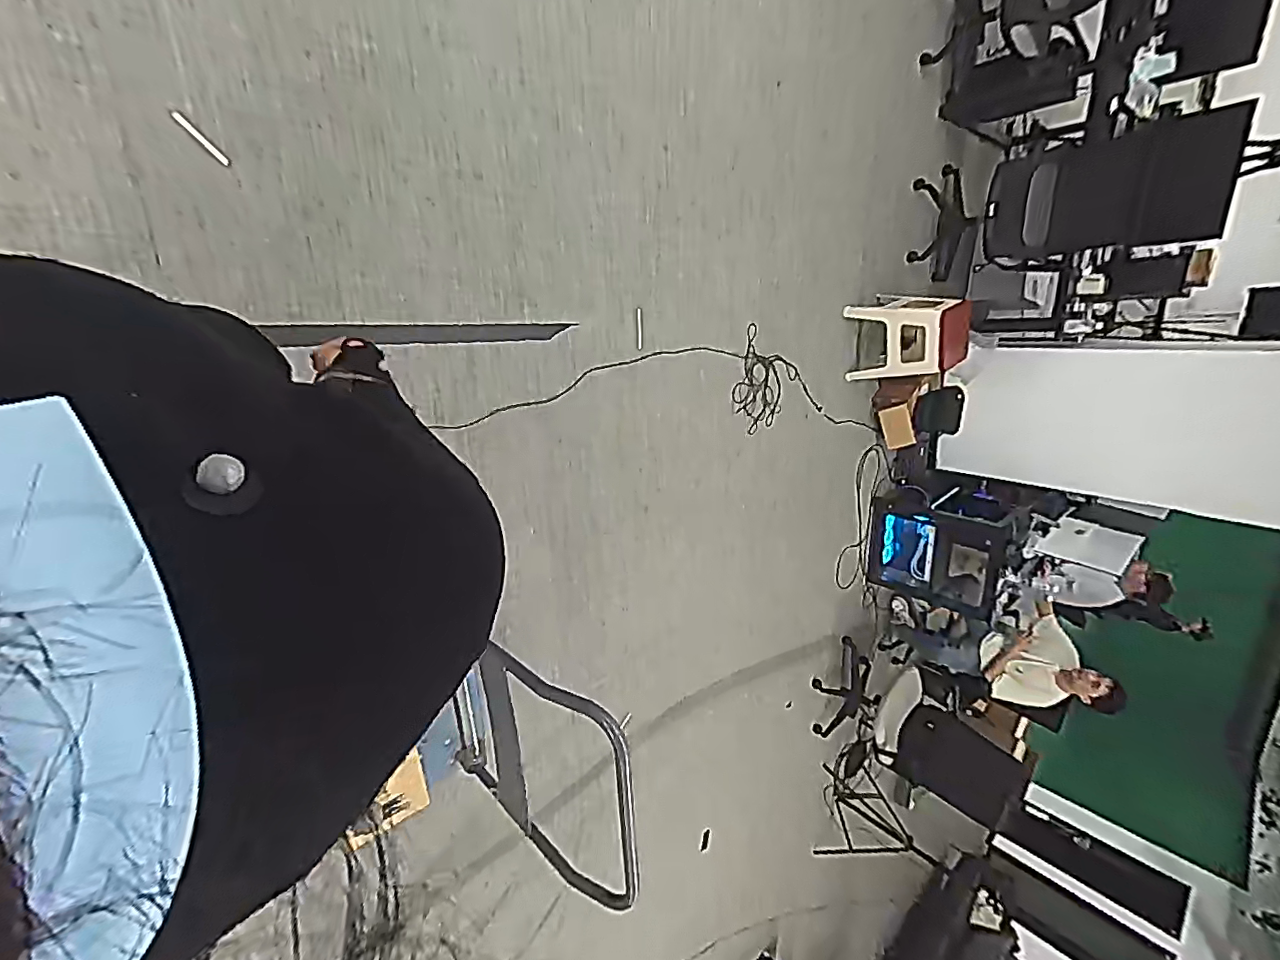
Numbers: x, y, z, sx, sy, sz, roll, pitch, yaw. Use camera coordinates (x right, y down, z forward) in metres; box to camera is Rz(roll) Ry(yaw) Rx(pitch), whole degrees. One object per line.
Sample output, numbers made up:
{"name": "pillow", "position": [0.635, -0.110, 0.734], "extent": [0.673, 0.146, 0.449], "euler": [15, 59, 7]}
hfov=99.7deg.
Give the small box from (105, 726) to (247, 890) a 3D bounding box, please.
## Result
{"name": "small box", "position": [-0.897, 0.625, 1.055], "extent": [0.168, 0.176, 0.179], "euler": [-20, 113, -38]}
